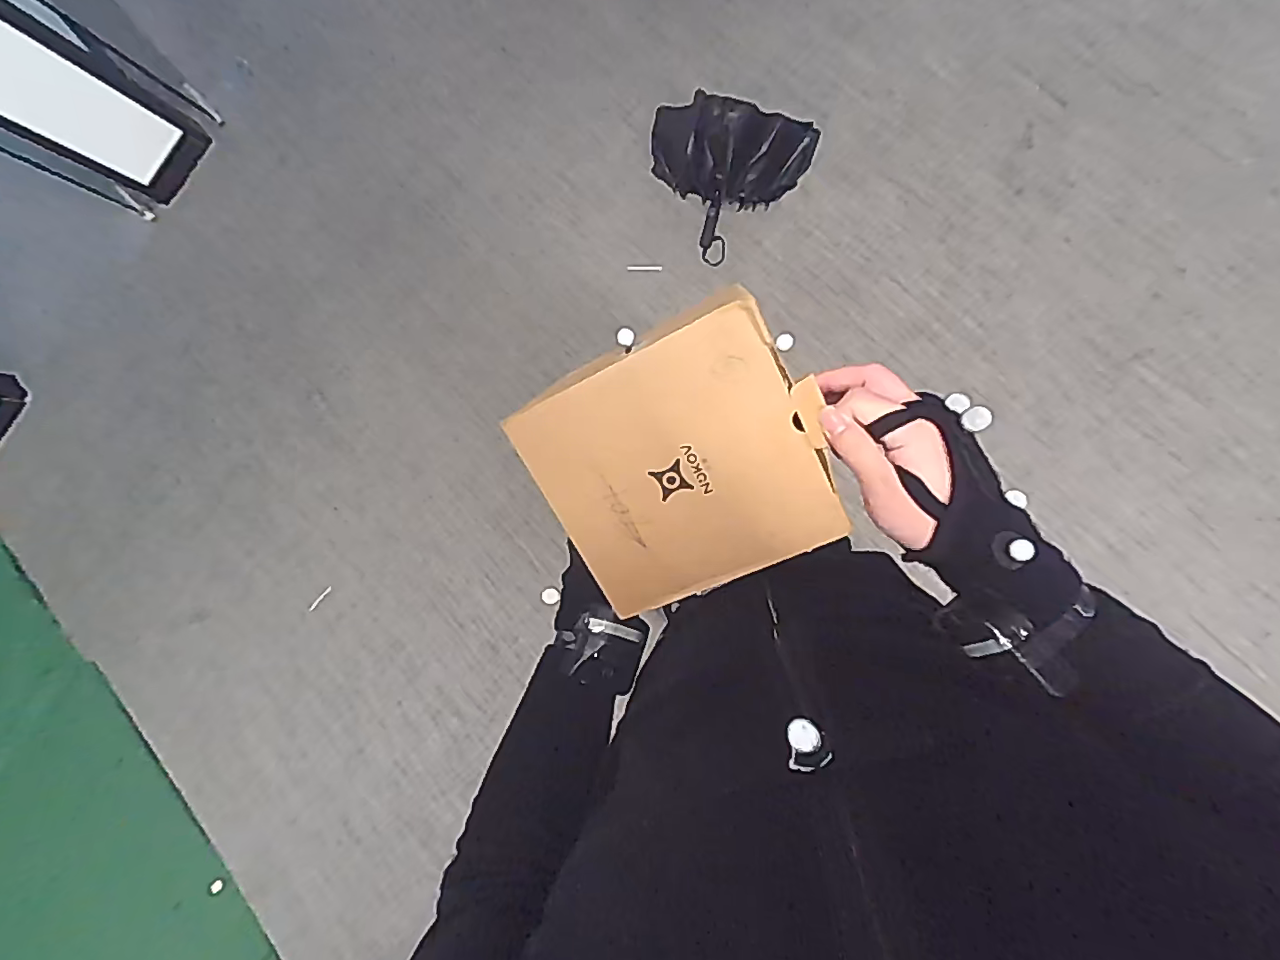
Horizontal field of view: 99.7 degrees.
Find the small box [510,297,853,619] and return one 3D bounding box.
[{"bbox_3d":[0.036,-0.029,0.423,0.179,0.176,0.168,-25,104,18],"label":"small box"}]
